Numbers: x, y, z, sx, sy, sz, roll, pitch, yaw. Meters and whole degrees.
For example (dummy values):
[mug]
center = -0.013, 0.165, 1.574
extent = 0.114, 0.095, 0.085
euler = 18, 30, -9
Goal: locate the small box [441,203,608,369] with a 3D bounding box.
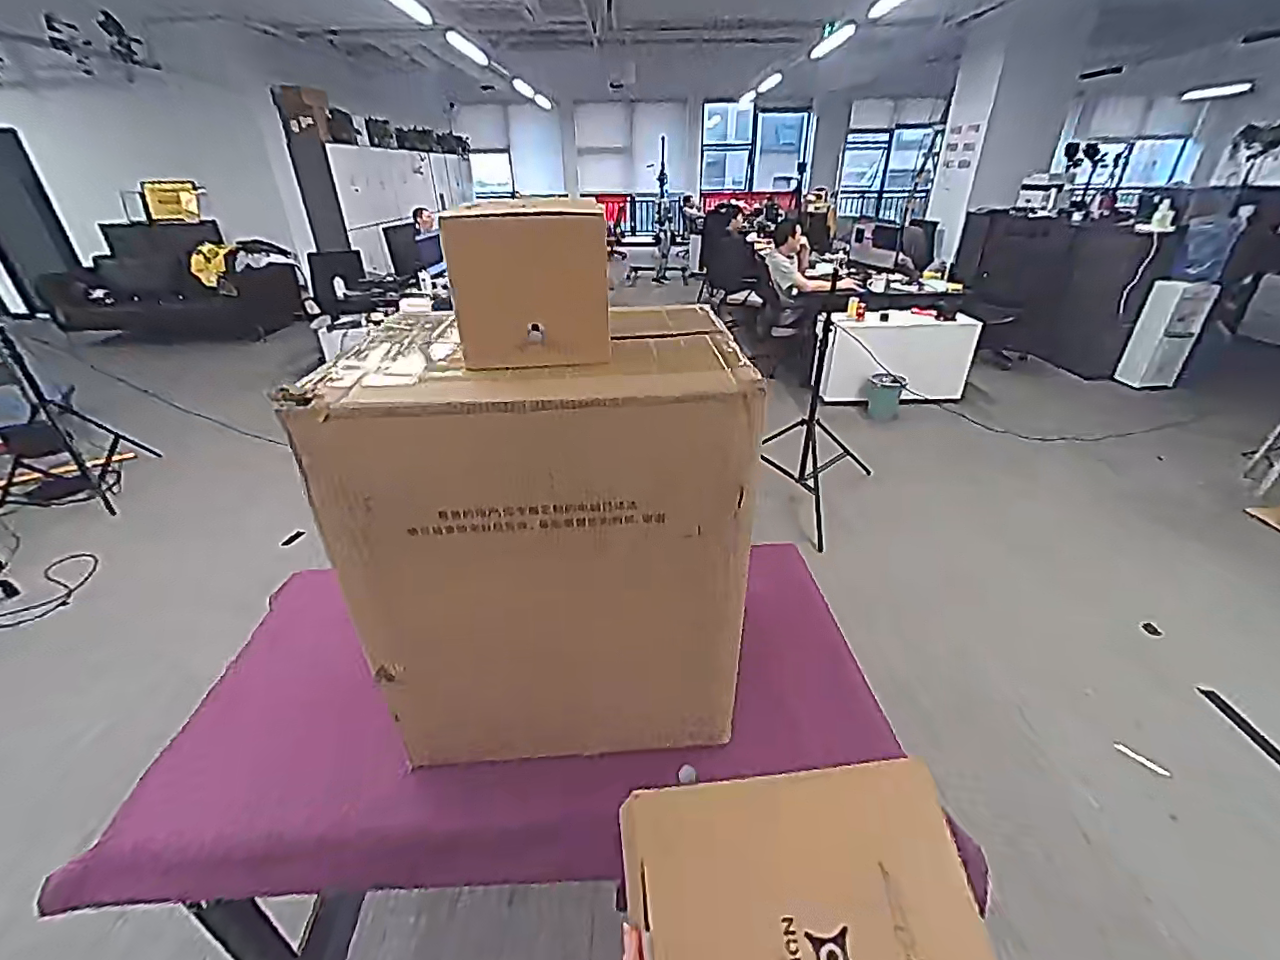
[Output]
[small box]
center = -0.131, -0.245, 0.678
extent = 0.179, 0.176, 0.168
euler = -4, 31, -6
